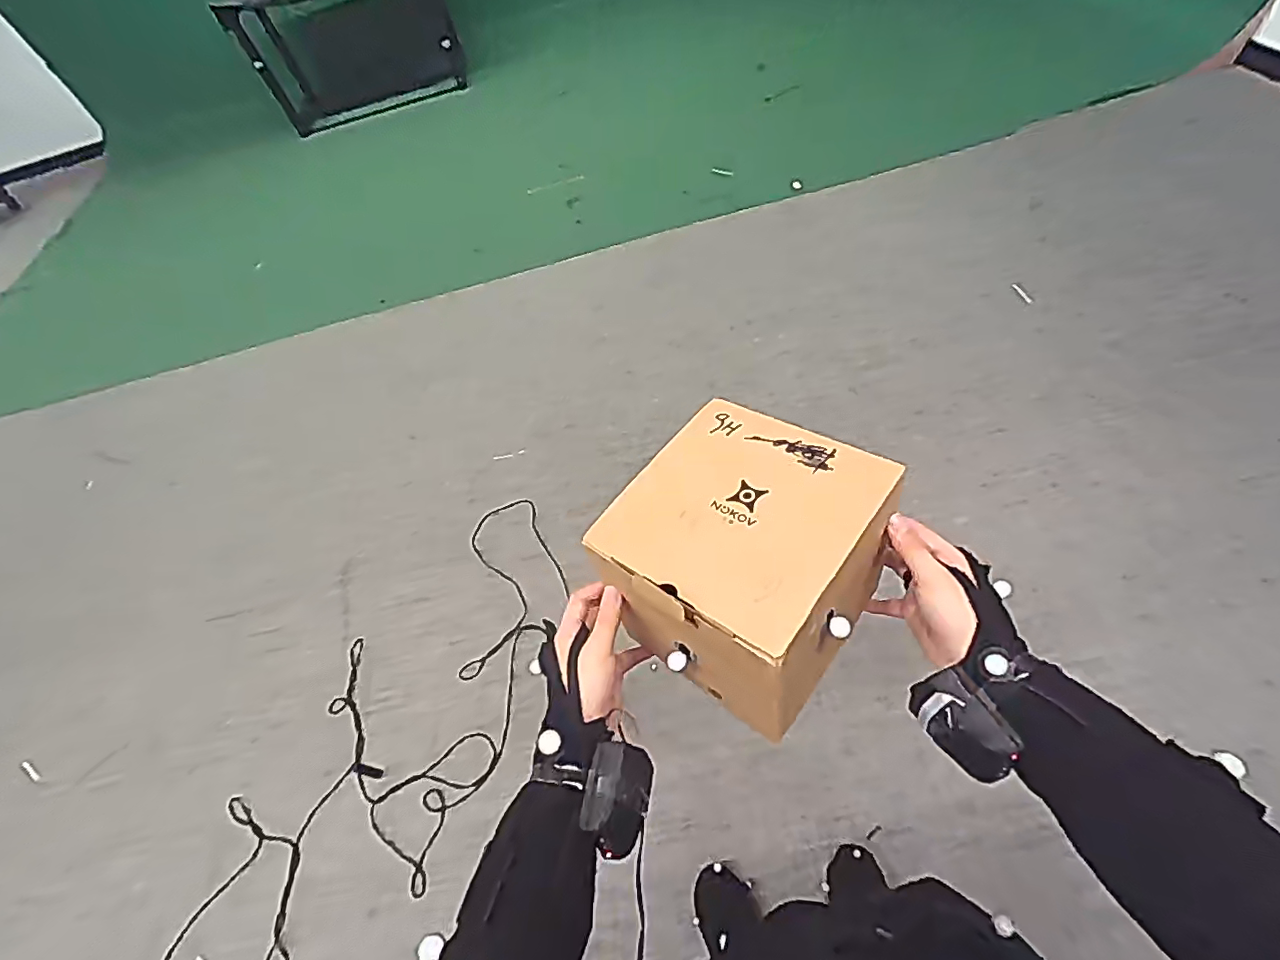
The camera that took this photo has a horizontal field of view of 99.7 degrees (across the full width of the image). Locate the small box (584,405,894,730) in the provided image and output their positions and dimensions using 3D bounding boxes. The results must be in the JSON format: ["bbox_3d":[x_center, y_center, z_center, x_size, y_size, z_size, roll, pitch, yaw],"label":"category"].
[{"bbox_3d":[0.087,0.074,0.454,0.168,0.176,0.179,27,63,32],"label":"small box"}]
